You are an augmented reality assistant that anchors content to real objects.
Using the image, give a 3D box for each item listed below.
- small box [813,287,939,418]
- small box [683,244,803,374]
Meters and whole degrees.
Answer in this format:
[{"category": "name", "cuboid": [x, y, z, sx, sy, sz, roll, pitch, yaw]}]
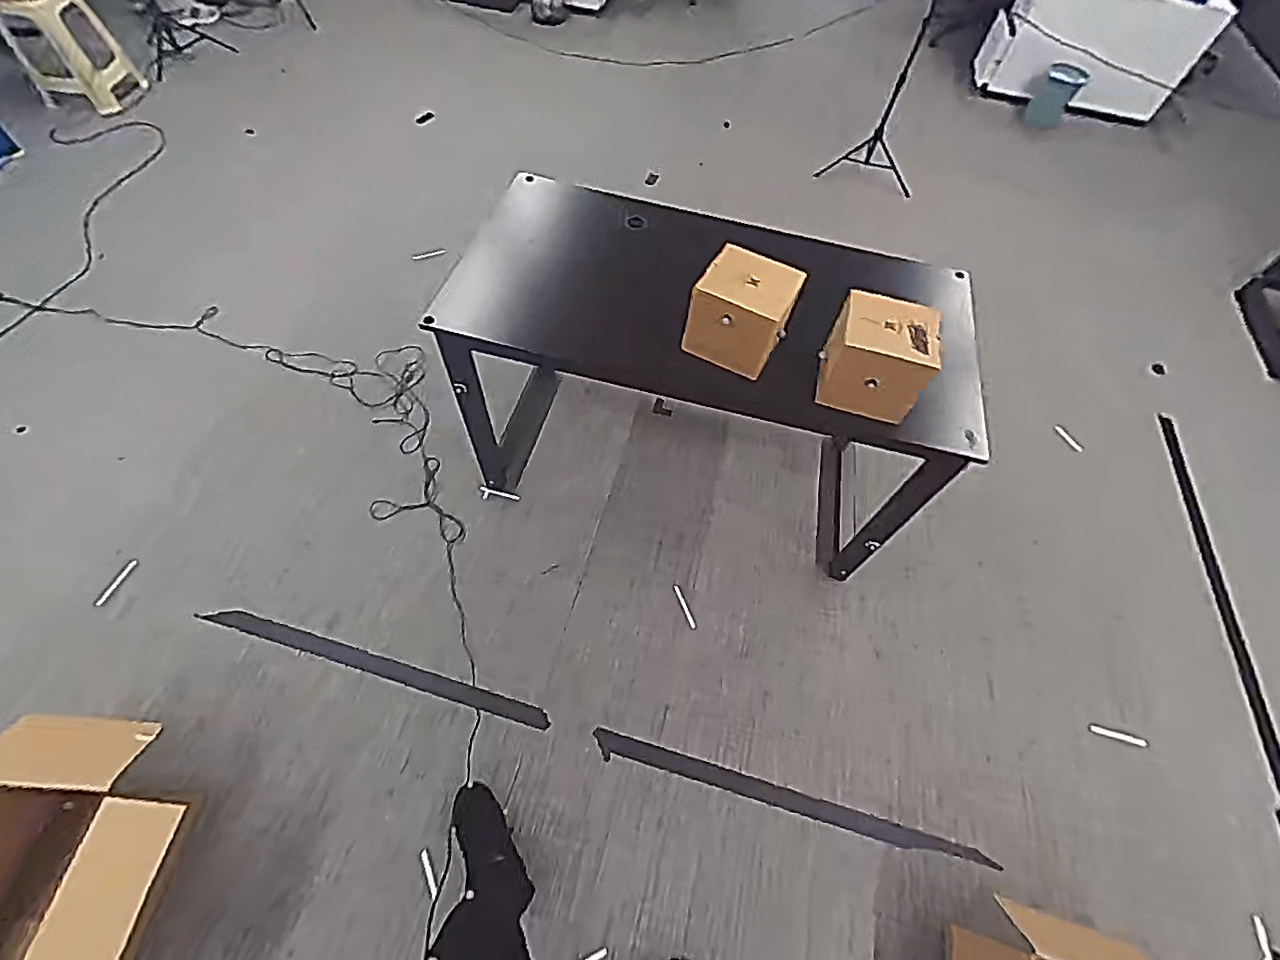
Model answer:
[{"category": "small box", "cuboid": [0.465, -0.247, 1.077, 0.179, 0.176, 0.168, 16, 58, 6]}, {"category": "small box", "cuboid": [0.207, -0.347, 1.120, 0.179, 0.176, 0.168, 26, 60, 11]}]
